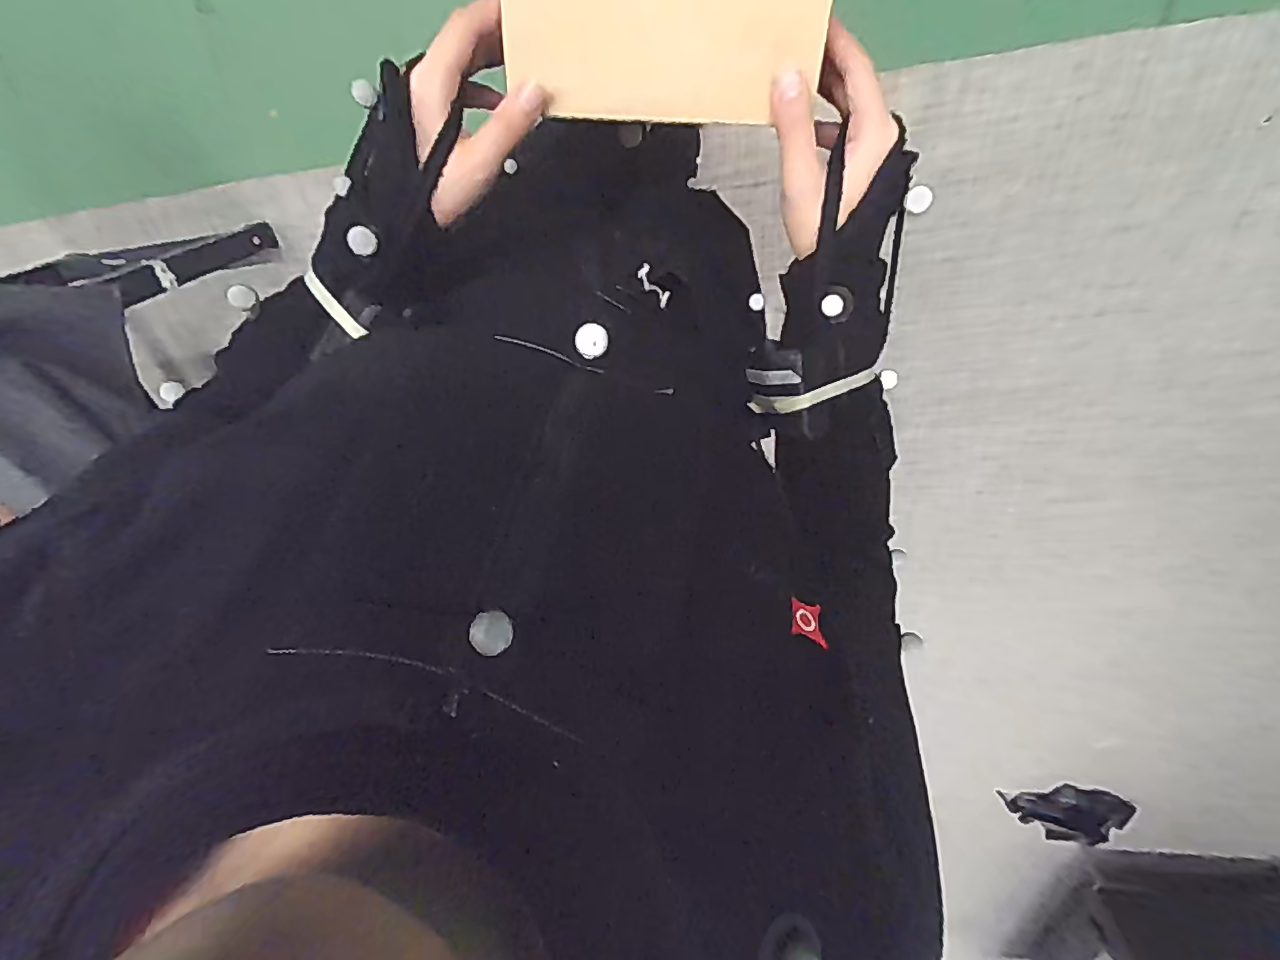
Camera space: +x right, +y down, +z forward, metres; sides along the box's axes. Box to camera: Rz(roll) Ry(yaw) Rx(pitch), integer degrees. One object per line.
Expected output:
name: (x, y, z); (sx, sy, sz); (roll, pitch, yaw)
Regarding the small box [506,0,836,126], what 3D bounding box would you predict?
small box: (0.023, -0.312, 0.308); (0.168, 0.176, 0.179); (4, 124, 2)
